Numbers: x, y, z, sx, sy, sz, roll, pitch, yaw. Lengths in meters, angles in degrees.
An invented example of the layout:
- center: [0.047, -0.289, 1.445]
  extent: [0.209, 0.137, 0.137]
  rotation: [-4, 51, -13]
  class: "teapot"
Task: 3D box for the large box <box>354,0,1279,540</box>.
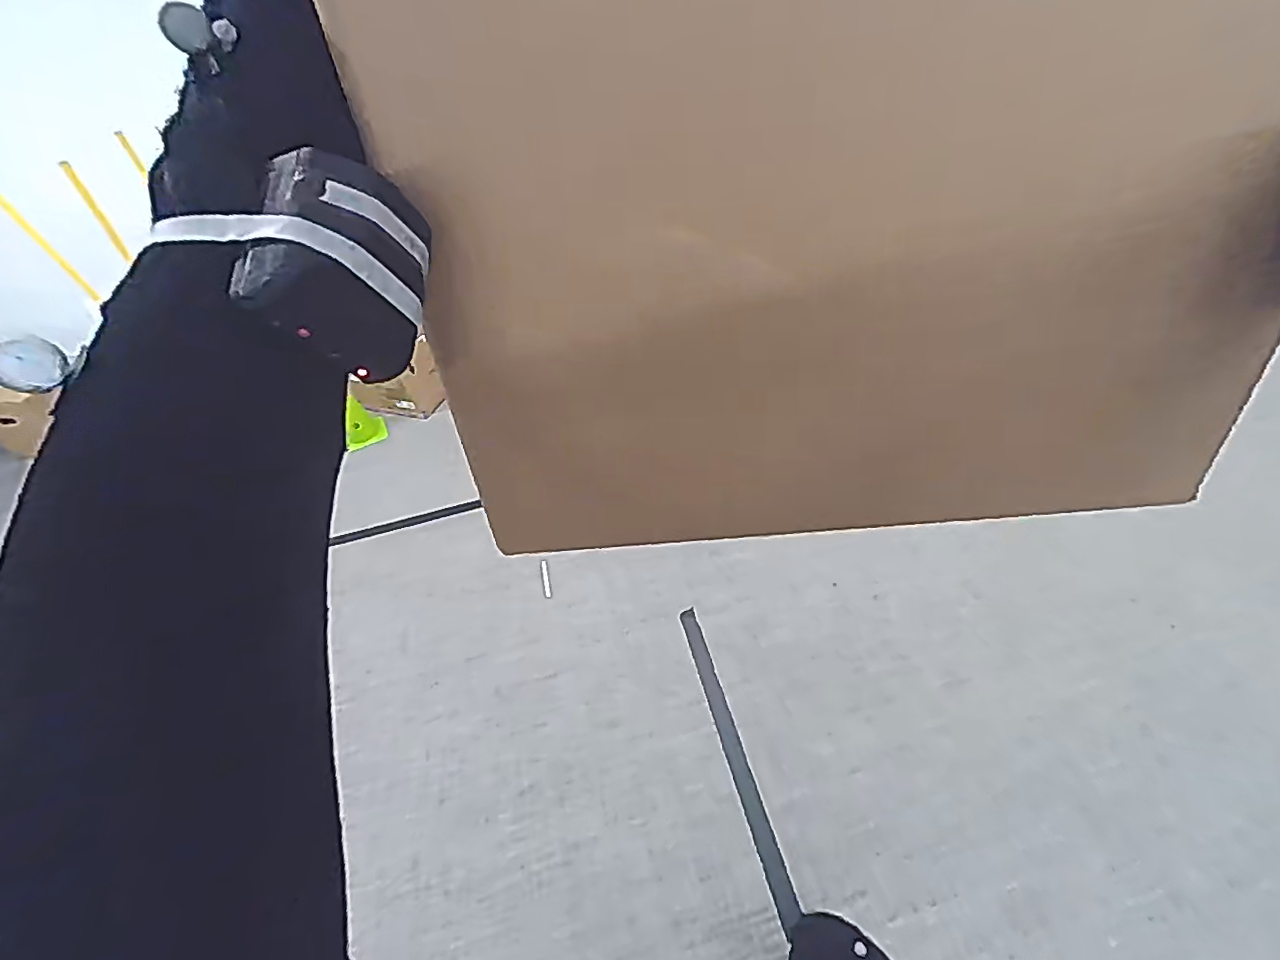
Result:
- center: [0.095, -0.182, 0.377]
  extent: [0.408, 0.320, 0.320]
  rotation: [-5, 33, 3]
  class: "large box"
